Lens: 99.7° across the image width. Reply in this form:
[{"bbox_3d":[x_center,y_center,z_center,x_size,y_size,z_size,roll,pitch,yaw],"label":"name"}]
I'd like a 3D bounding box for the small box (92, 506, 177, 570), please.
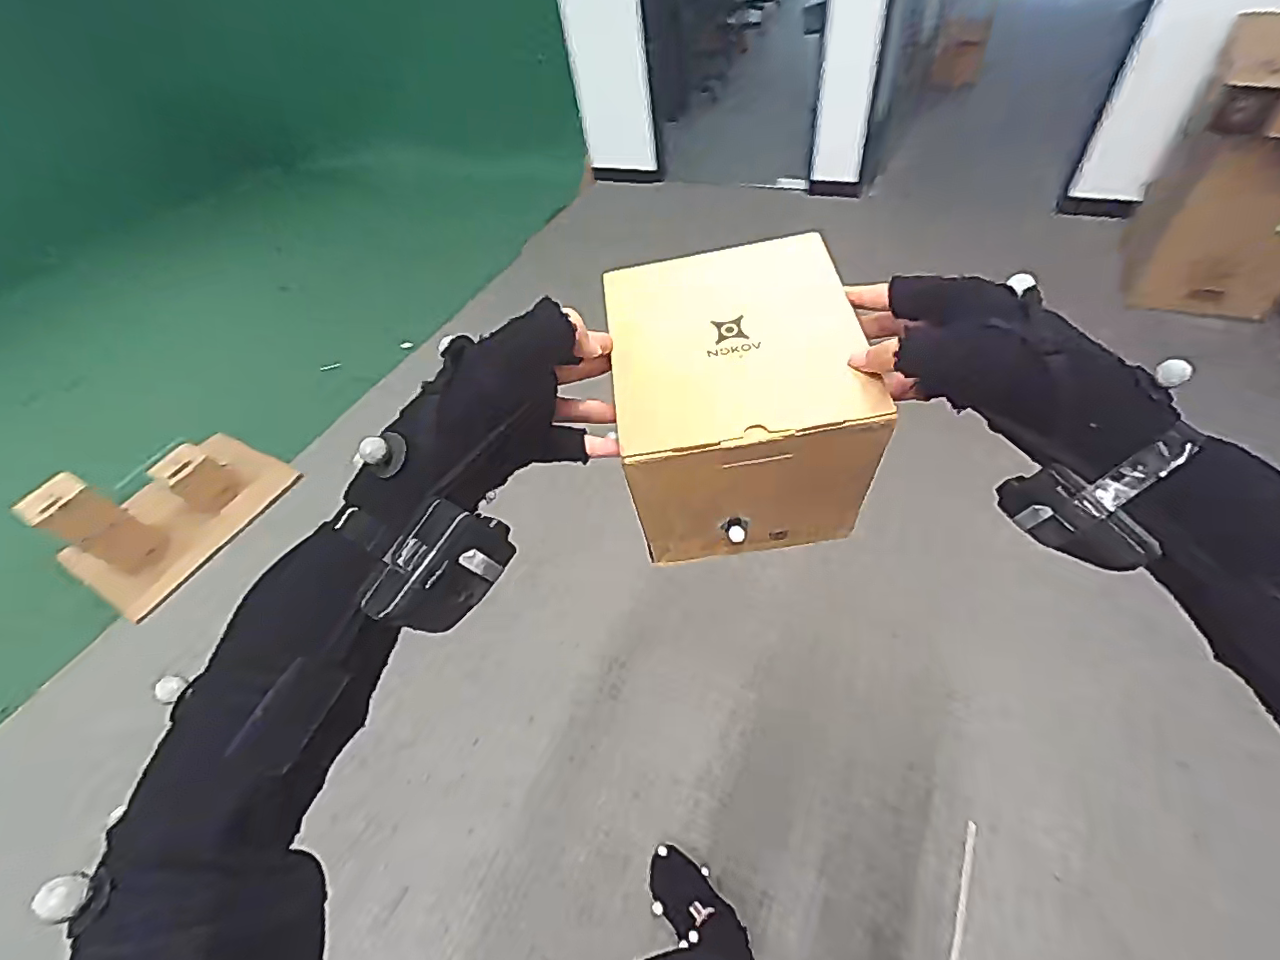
[{"bbox_3d":[-1.833,0.199,1.934,0.179,0.176,0.168,19,58,23],"label":"small box"}]

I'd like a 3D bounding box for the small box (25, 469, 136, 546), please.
[{"bbox_3d":[-1.859,0.098,1.807,0.179,0.176,0.168,19,58,25],"label":"small box"}]
